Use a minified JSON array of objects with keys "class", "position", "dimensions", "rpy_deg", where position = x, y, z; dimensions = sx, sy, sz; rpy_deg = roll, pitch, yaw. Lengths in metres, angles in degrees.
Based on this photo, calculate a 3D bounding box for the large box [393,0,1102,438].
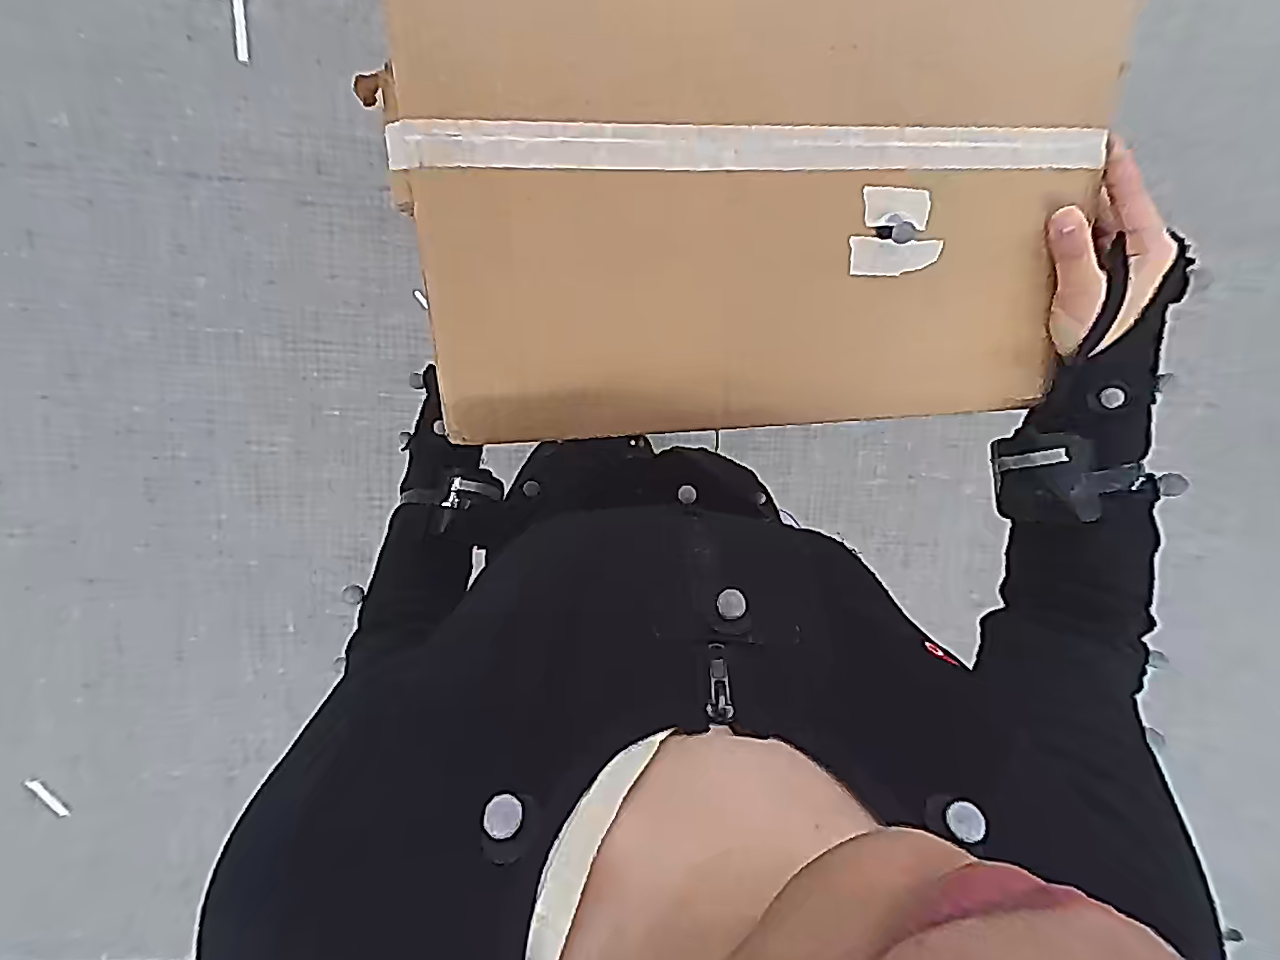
[{"class":"large box","position":[0.050,-0.233,0.452],"dimensions":[0.408,0.320,0.320],"rpy_deg":[-5,108,-9]}]
